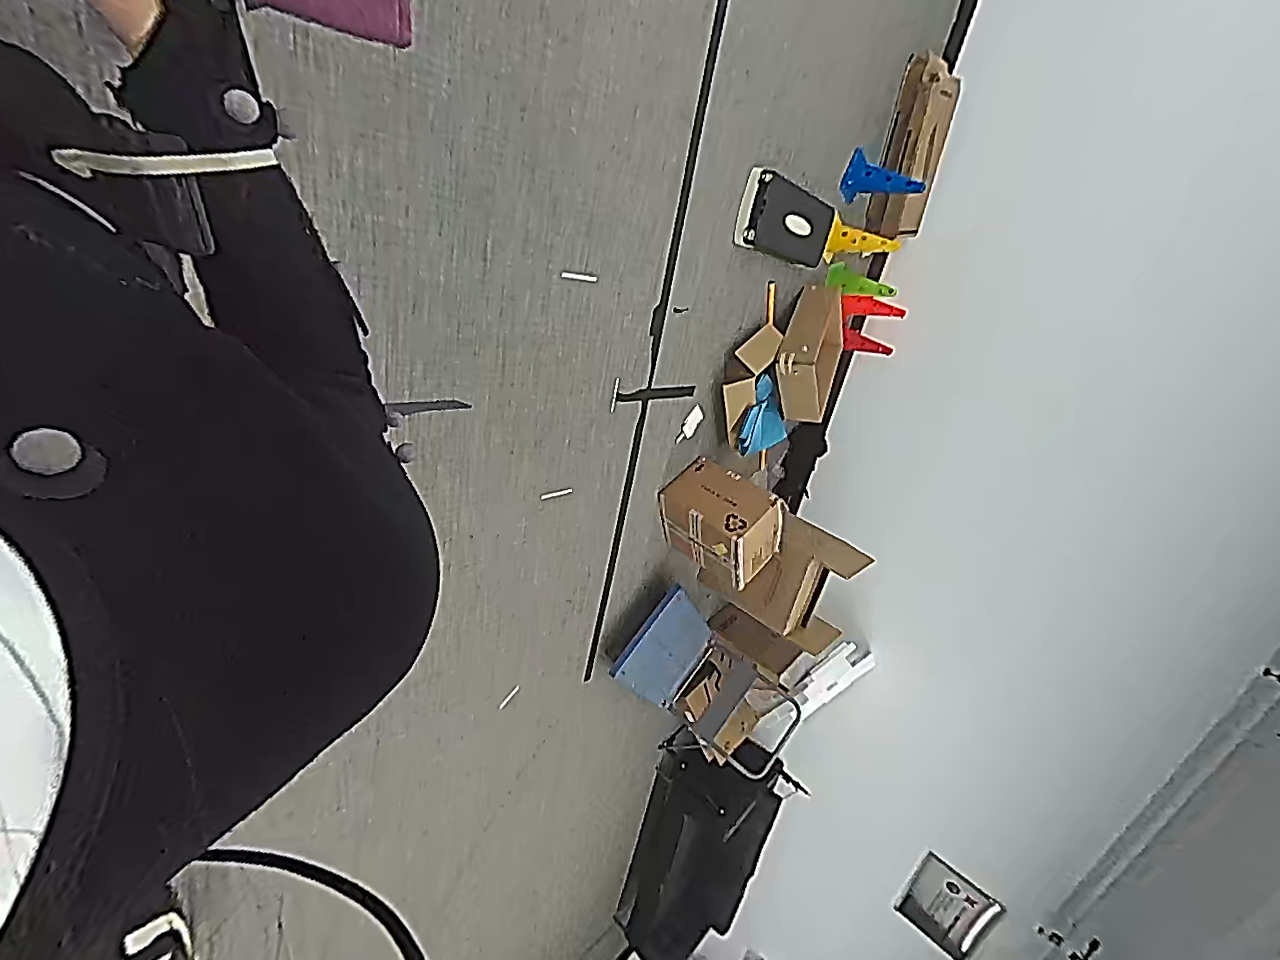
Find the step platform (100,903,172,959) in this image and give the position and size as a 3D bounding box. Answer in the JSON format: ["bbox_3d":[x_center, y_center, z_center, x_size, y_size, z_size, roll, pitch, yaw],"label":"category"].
[{"bbox_3d":[-1.560,1.397,1.288,0.684,0.204,0.286,-16,126,-48],"label":"step platform"}]
